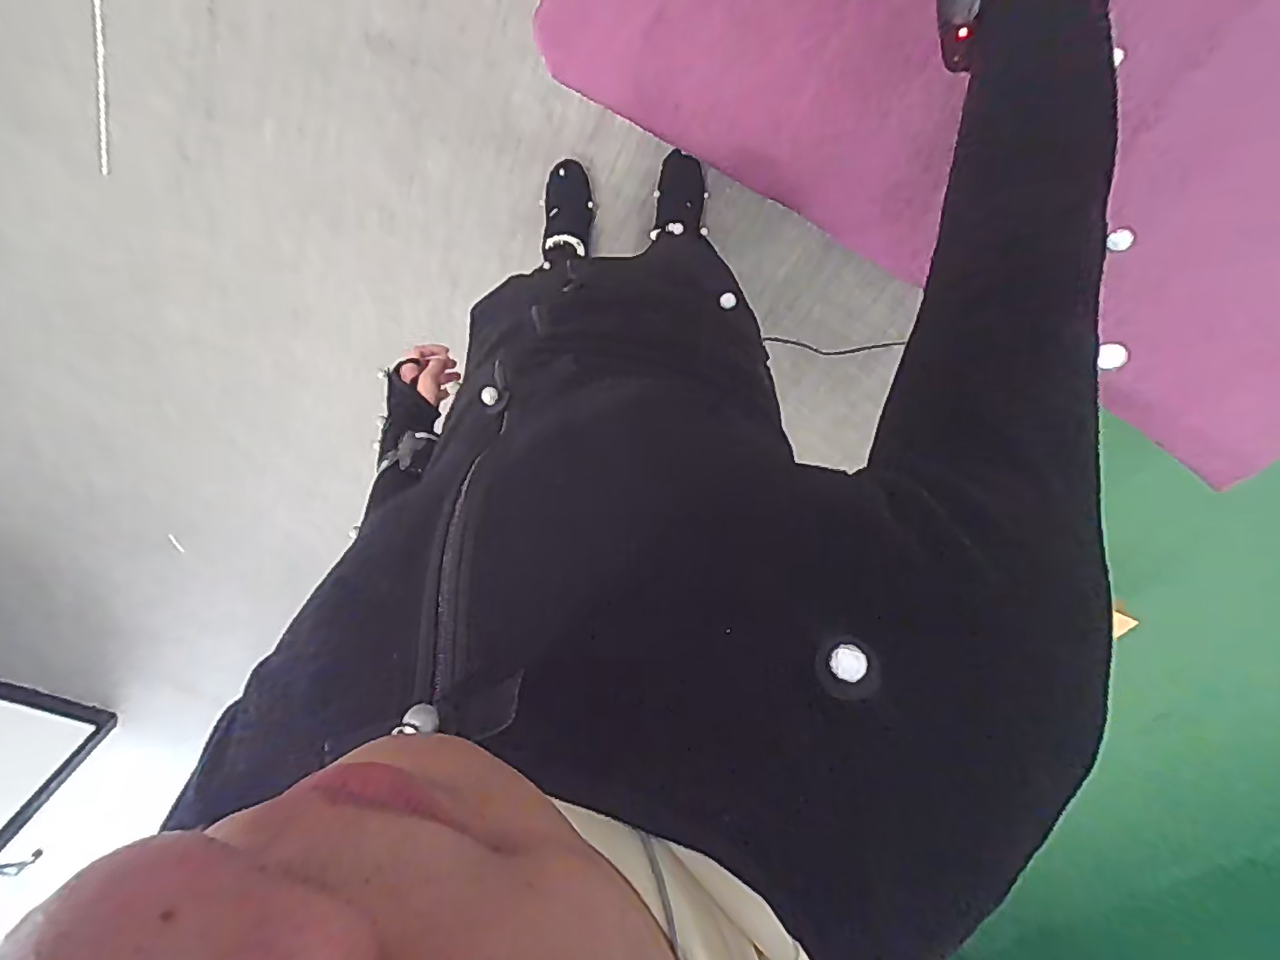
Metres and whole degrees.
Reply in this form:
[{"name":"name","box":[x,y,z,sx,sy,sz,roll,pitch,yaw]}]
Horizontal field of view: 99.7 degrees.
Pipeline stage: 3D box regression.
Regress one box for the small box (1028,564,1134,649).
[{"name":"small box","box":[1.392,0.403,1.728,0.168,0.176,0.179,23,121,-13]}]
